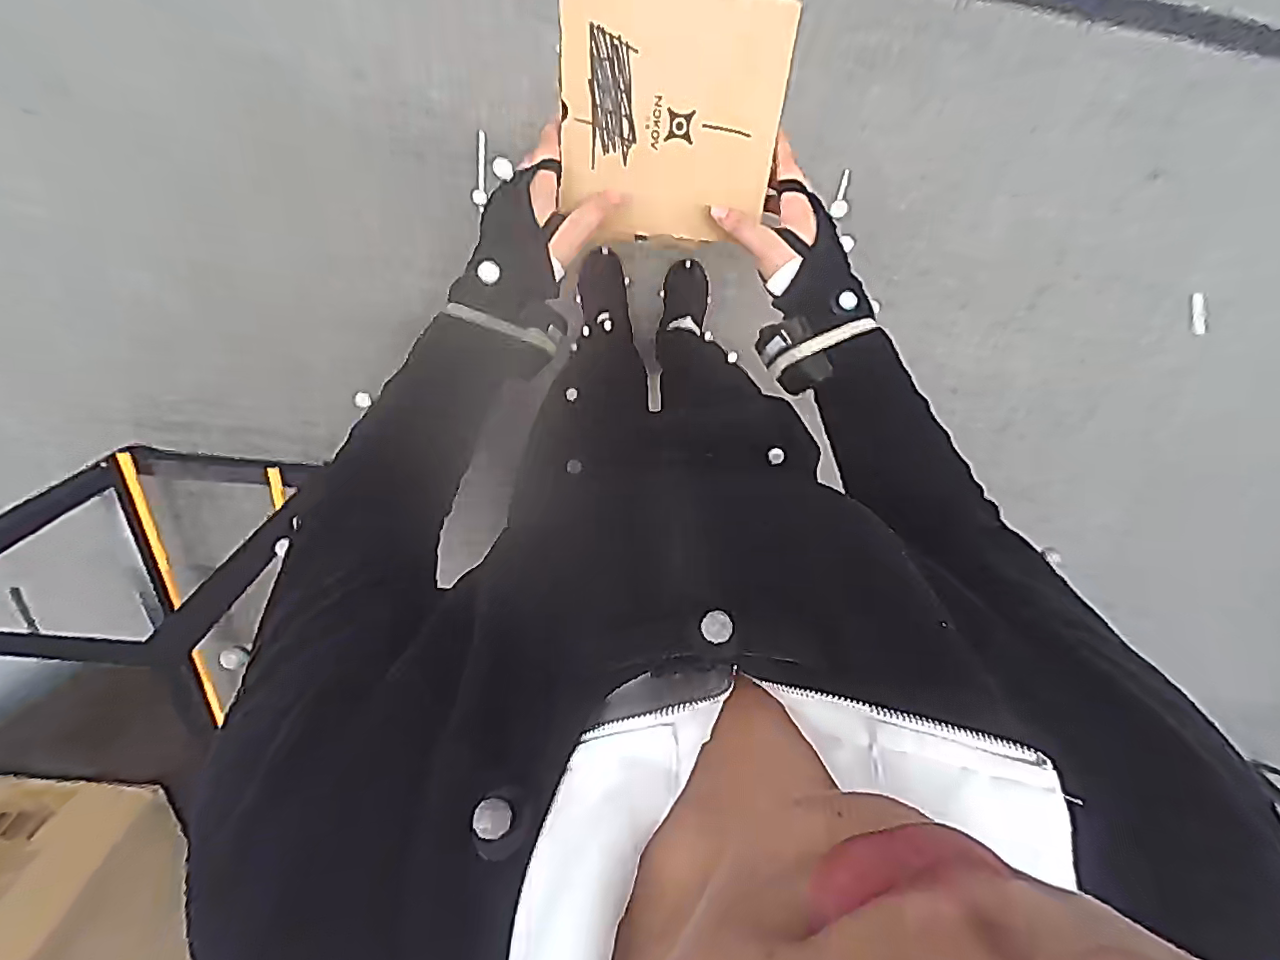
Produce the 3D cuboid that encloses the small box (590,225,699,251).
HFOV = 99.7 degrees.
[{"bbox_3d":[0.013,-0.468,0.841,0.168,0.176,0.179,5,120,-3],"label":"small box"}]

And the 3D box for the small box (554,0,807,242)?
[{"bbox_3d":[0.021,-0.317,0.476,0.179,0.176,0.168,3,123,-4],"label":"small box"}]
